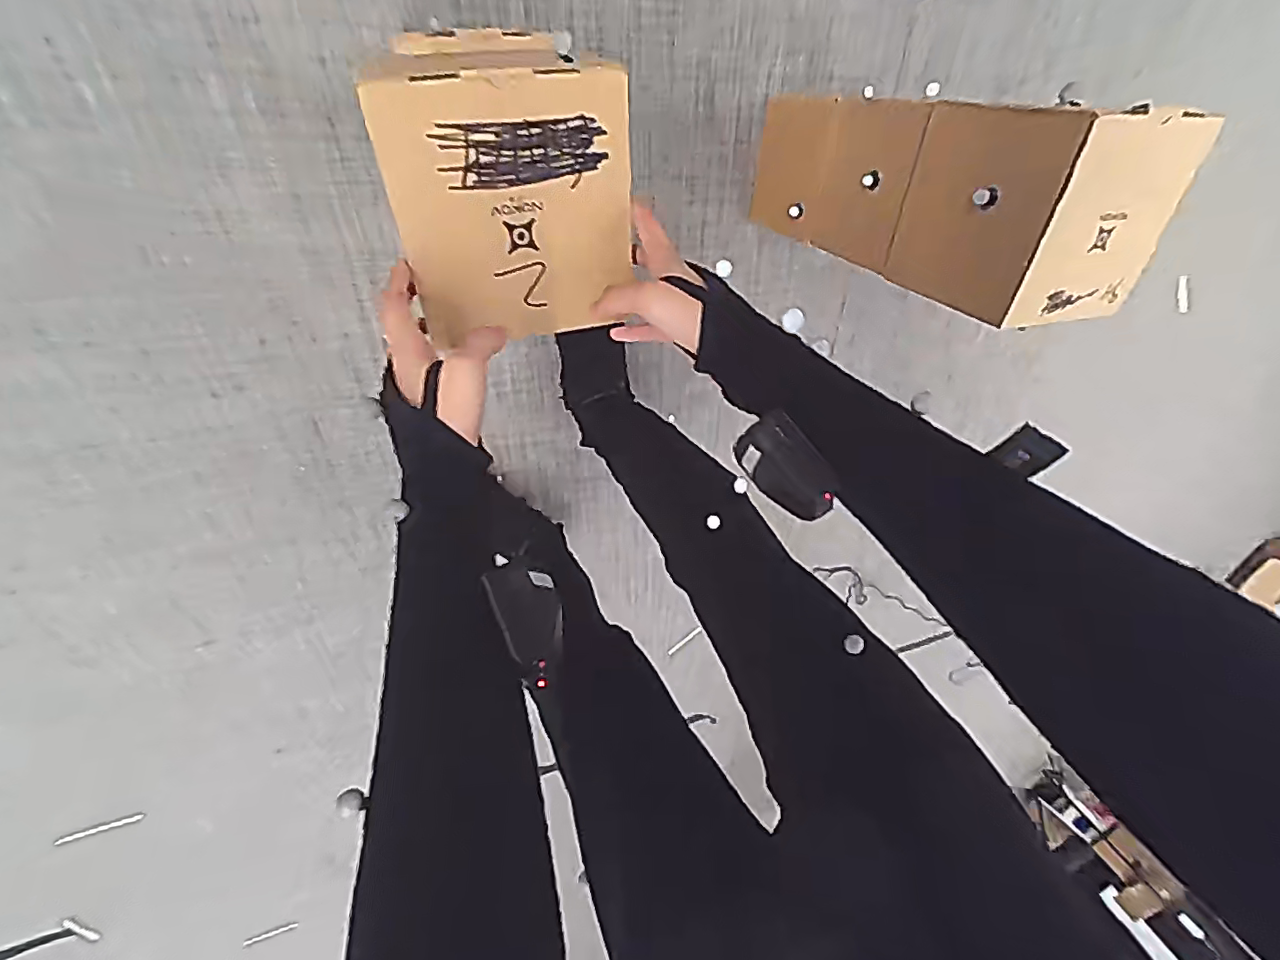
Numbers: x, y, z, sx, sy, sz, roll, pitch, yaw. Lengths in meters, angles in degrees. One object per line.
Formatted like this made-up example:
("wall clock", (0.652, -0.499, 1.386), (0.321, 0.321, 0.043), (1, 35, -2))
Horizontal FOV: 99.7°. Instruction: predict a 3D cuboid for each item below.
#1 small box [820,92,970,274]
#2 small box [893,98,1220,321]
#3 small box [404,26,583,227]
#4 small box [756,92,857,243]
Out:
("small box", (0.352, -0.373, 0.678), (0.168, 0.176, 0.179), (-10, 128, -17))
("small box", (0.394, -0.278, 0.550), (0.168, 0.176, 0.179), (-10, 127, -17))
("small box", (-0.172, -0.413, 0.636), (0.168, 0.176, 0.179), (-12, 128, -14))
("small box", (0.291, -0.464, 0.801), (0.168, 0.176, 0.179), (-10, 128, -17))
